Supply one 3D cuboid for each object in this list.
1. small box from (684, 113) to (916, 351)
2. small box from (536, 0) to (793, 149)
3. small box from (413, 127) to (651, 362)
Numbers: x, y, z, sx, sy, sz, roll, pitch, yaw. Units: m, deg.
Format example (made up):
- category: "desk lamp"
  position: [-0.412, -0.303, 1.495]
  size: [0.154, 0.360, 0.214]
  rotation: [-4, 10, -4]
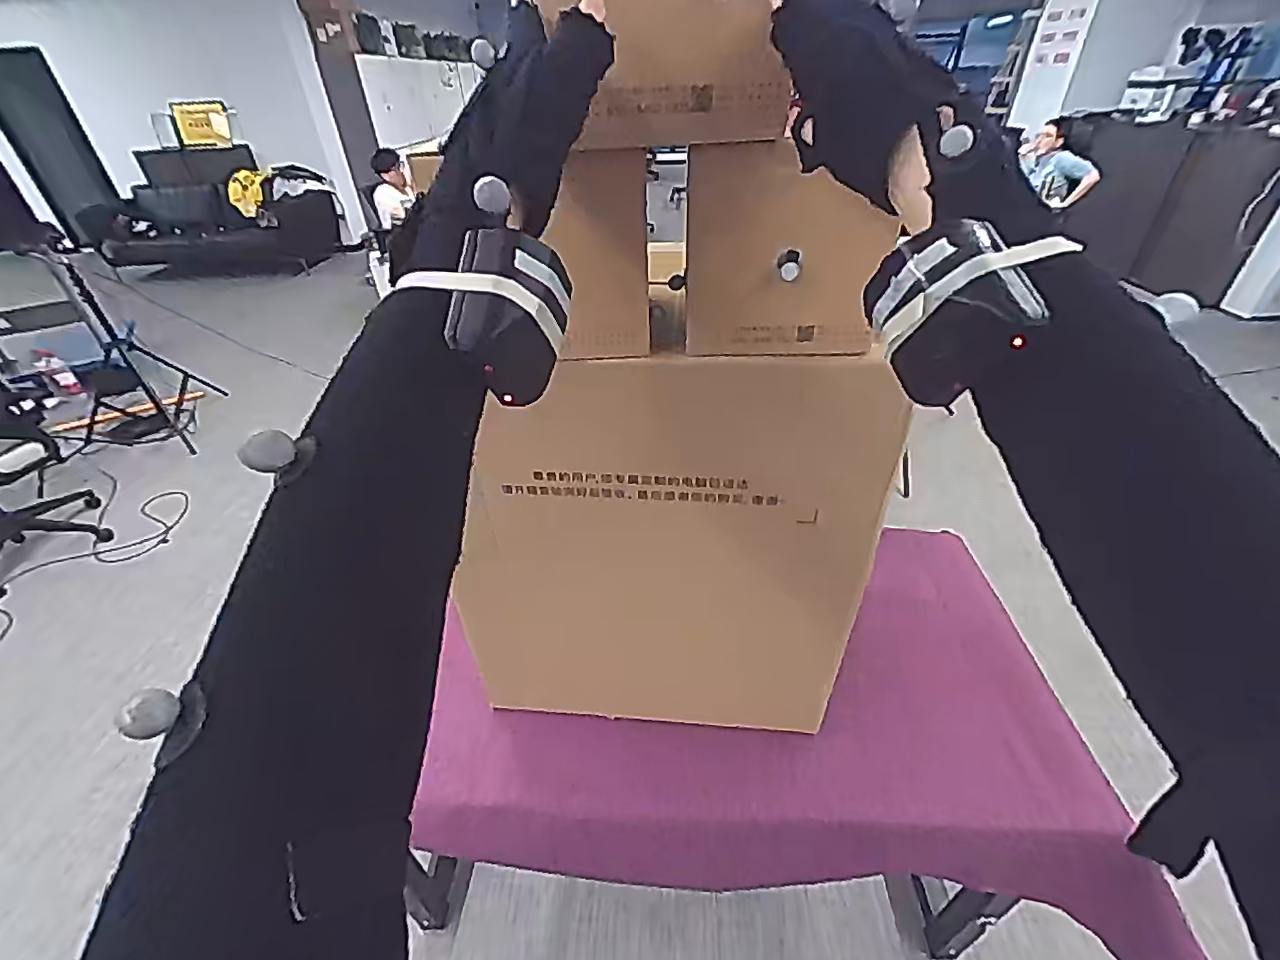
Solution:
- category: "small box"
  position: [0.127, -0.229, 0.503]
  size: [0.168, 0.176, 0.179]
  rotation: [1, 38, 4]
- category: "small box"
  position: [0.010, -0.345, 0.395]
  size: [0.168, 0.176, 0.179]
  rotation: [-4, 36, -4]
- category: "small box"
  position: [-0.079, -0.222, 0.507]
  size: [0.179, 0.176, 0.168]
  rotation: [-3, 37, 0]
